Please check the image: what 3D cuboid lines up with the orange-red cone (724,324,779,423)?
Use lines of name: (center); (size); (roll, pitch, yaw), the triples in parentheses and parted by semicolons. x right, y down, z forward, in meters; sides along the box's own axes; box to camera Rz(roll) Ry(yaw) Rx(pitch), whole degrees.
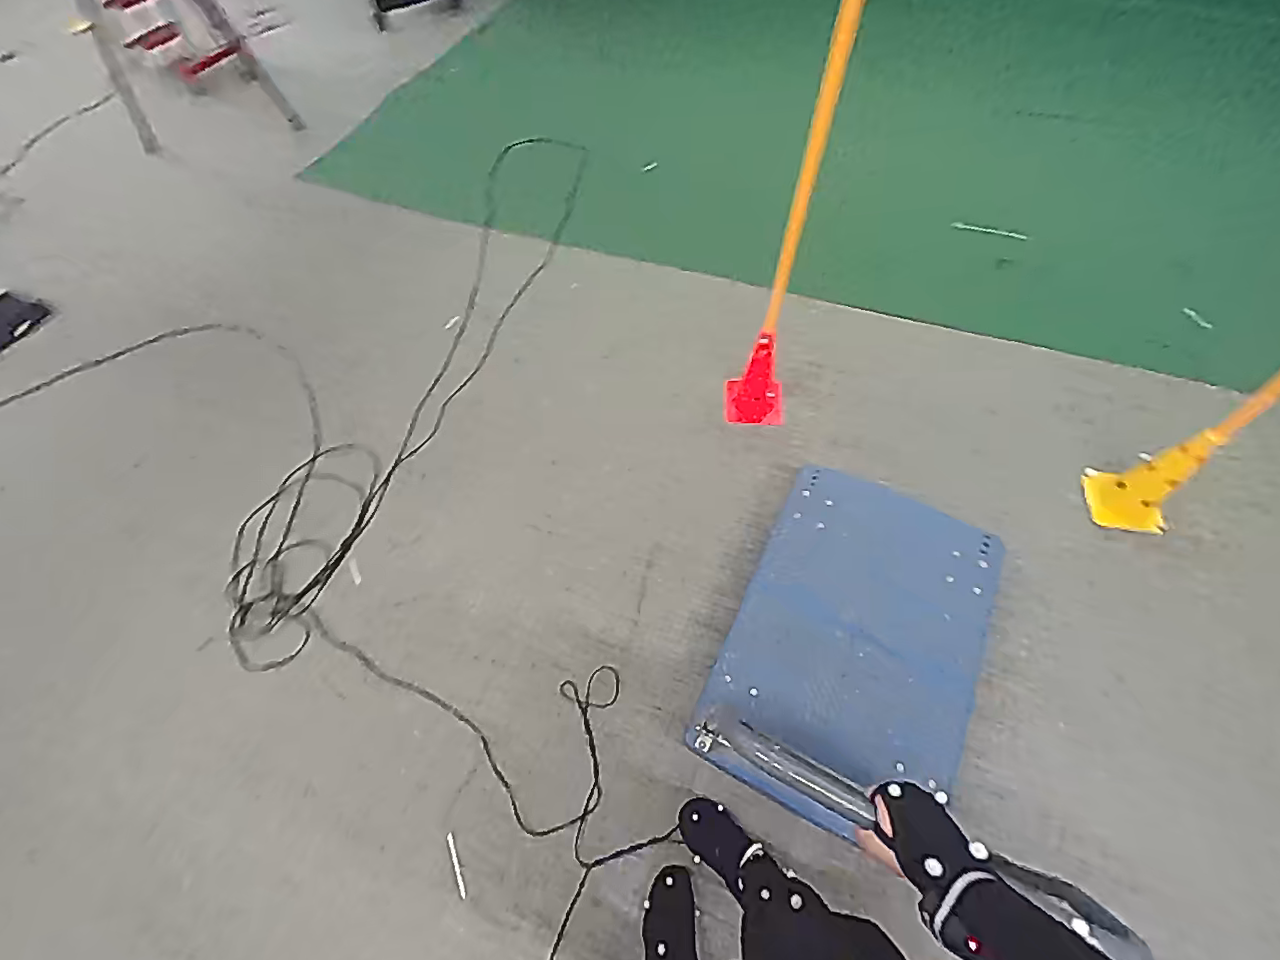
orange-red cone: (0.392, -0.376, 1.812); (0.199, 0.360, 0.198); (3, 60, 7)
